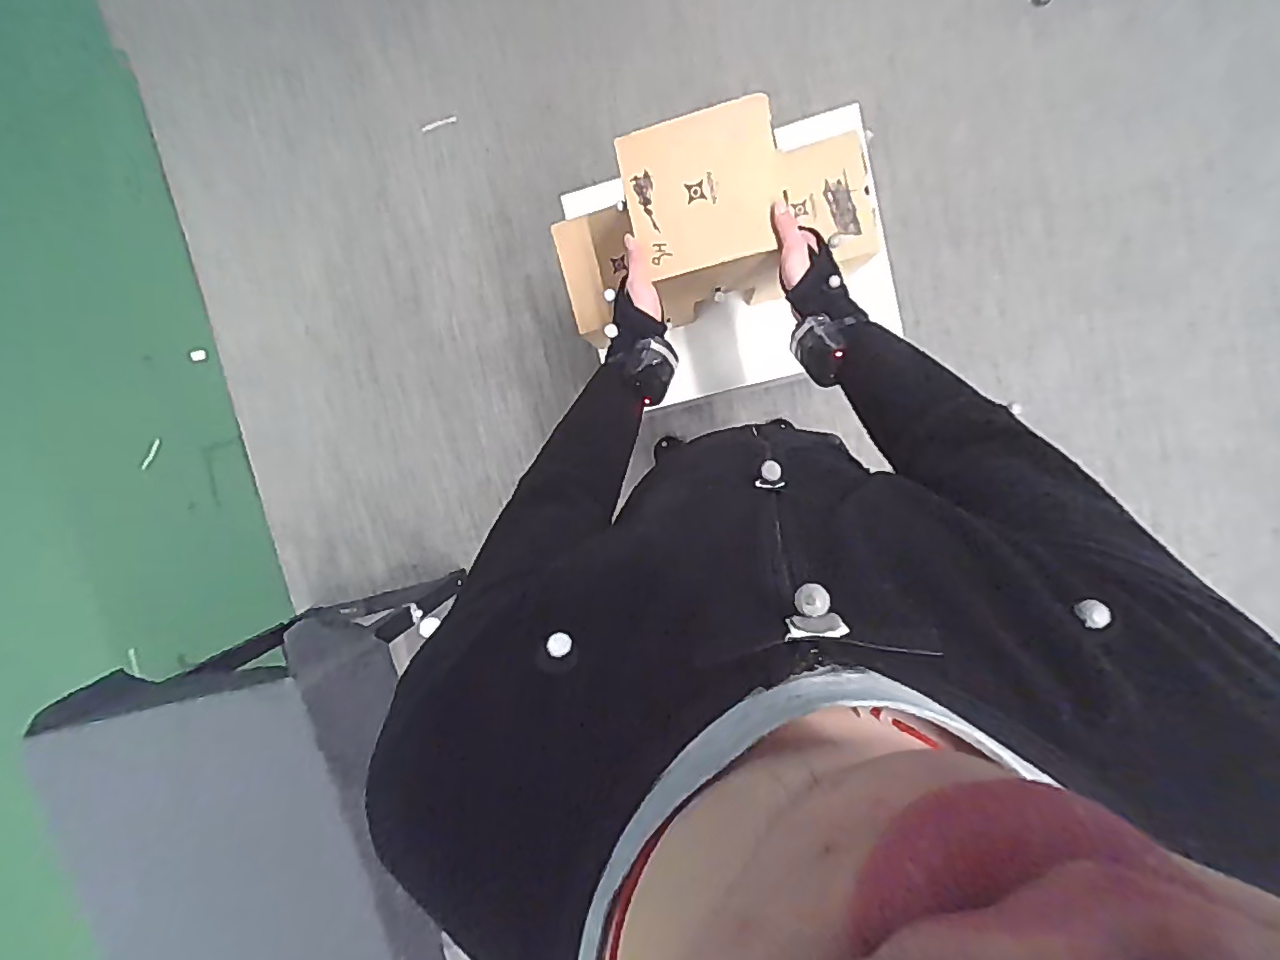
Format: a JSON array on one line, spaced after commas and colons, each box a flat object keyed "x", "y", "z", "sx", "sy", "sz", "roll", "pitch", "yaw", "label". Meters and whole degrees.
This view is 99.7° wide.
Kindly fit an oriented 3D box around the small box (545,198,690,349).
[{"x": -0.027, "y": -0.315, "z": 0.845, "sx": 0.179, "sy": 0.176, "sz": 0.168, "roll": -15, "pitch": 94, "yaw": 6, "label": "small box"}]

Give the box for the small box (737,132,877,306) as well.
[{"x": 0.229, "y": -0.377, "z": 0.815, "sx": 0.179, "sy": 0.176, "sz": 0.168, "roll": -13, "pitch": 95, "yaw": 7, "label": "small box"}]

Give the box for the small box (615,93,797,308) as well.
[{"x": 0.077, "y": -0.327, "z": 0.670, "sx": 0.179, "sy": 0.176, "sz": 0.168, "roll": -12, "pitch": 95, "yaw": 6, "label": "small box"}]
